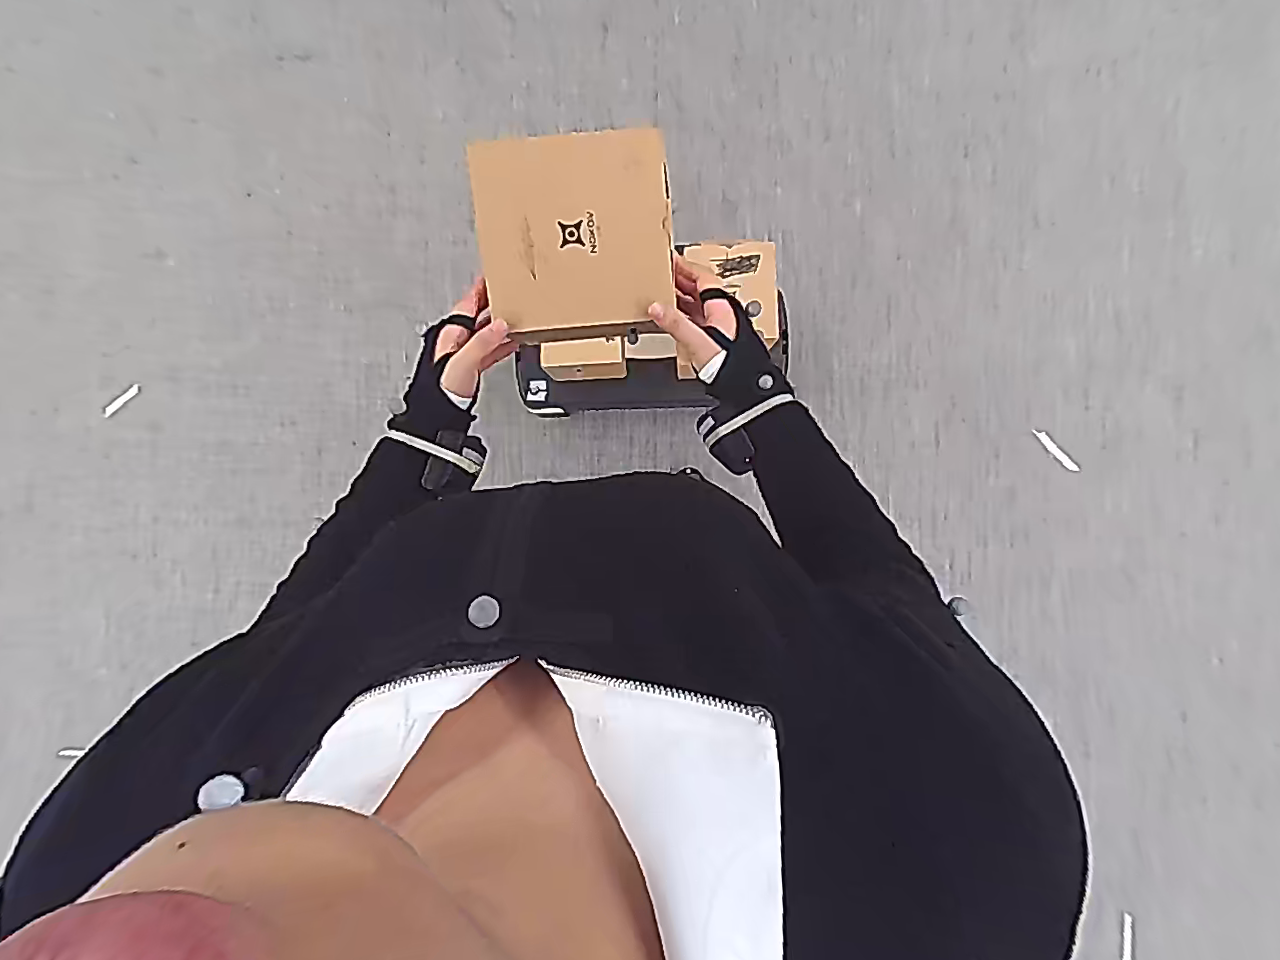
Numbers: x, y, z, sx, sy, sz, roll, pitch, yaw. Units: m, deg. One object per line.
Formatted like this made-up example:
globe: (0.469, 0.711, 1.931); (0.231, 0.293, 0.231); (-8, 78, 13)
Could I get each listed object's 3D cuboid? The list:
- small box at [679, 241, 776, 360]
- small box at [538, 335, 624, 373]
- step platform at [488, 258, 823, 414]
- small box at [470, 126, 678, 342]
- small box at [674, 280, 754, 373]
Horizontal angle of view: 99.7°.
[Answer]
small box: (0.164, -0.343, 1.057); (0.168, 0.176, 0.179); (-2, 91, 2)
small box: (-0.129, -0.333, 1.232); (0.179, 0.176, 0.168); (-3, 90, 2)
step platform: (0.029, -0.300, 1.191); (0.684, 0.204, 0.286); (-1, 90, 1)
small box: (-0.059, -0.242, 0.572); (0.179, 0.176, 0.168); (-6, 100, 1)
small box: (0.161, -0.340, 1.222); (0.168, 0.176, 0.179); (-2, 90, 2)
